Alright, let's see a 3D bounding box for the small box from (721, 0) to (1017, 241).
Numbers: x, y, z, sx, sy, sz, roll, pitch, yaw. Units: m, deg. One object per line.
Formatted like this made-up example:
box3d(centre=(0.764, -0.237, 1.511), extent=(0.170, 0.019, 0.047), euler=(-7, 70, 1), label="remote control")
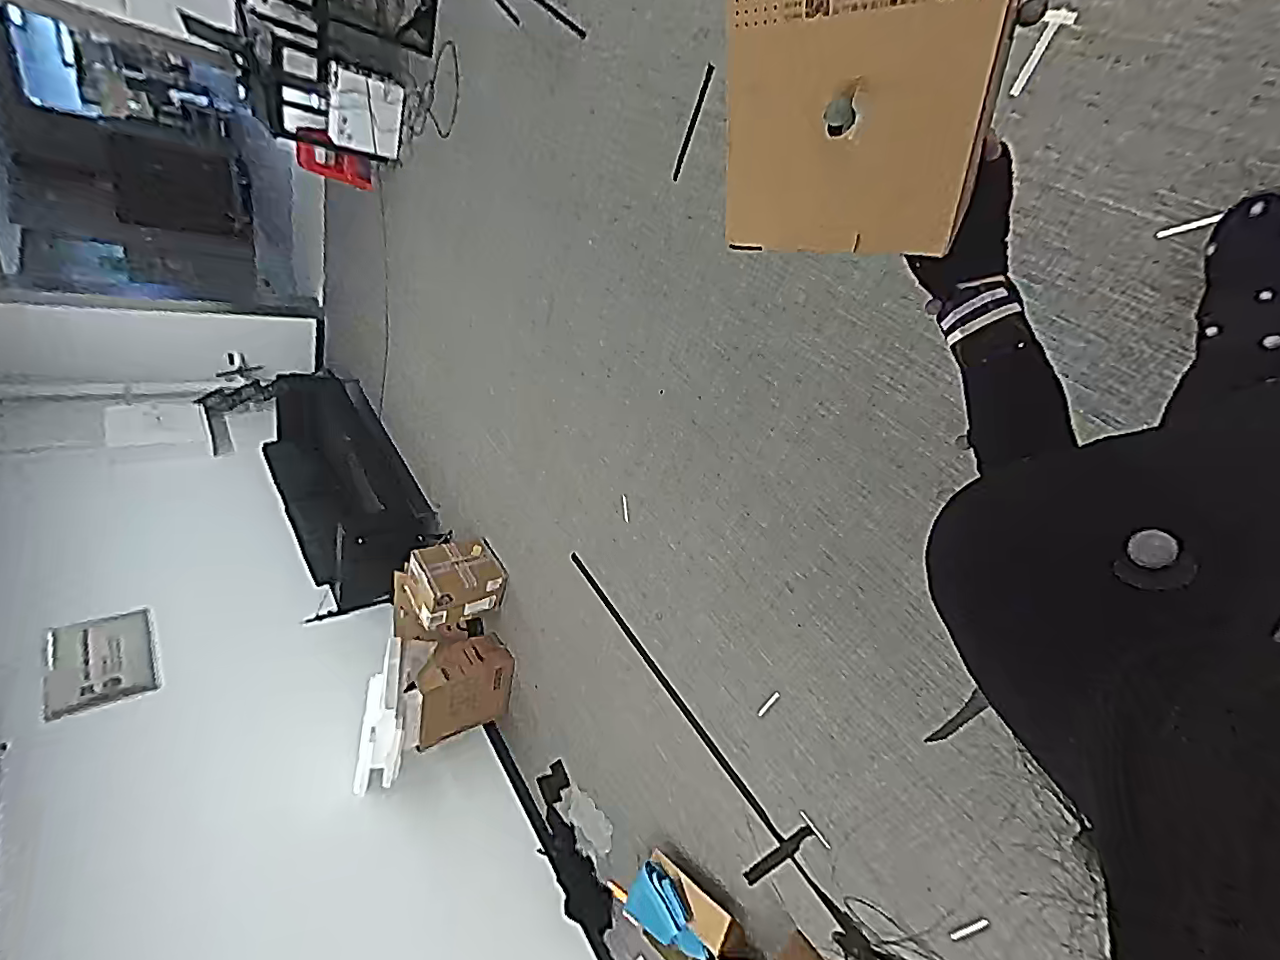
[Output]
box3d(centre=(0.165, -0.290, 0.398), extent=(0.168, 0.179, 0.176), euler=(16, 134, 27), label="small box")
